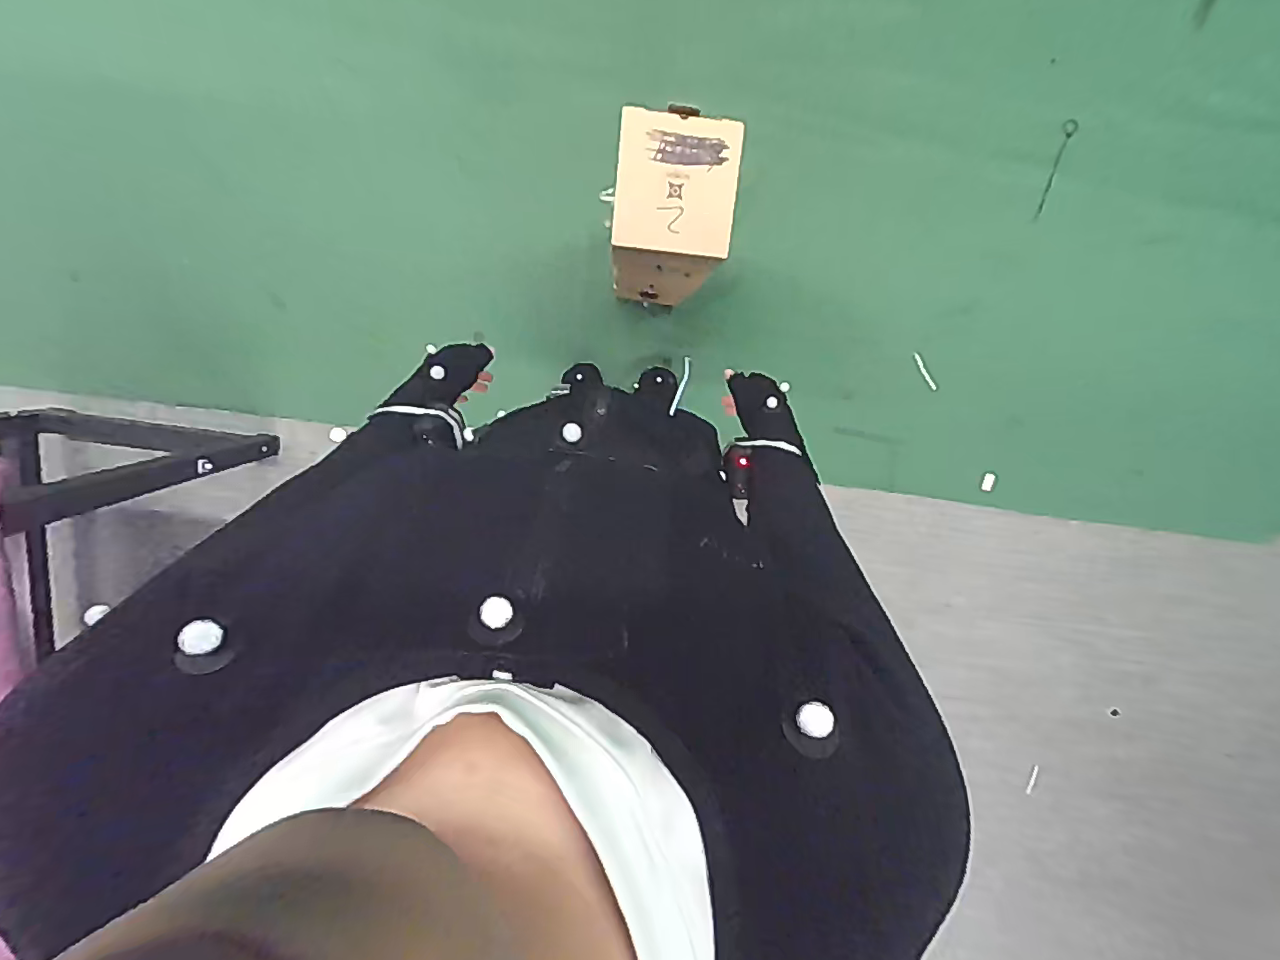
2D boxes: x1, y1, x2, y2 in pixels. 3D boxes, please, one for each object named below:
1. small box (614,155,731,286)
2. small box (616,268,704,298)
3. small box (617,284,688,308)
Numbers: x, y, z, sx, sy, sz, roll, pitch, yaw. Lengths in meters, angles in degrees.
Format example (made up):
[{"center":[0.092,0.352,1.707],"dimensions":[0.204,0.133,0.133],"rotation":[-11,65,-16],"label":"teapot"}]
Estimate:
[{"center":[0.050,-0.452,0.969],"dimensions":[0.179,0.176,0.168],"rotation":[7,102,-4],"label":"small box"},{"center":[0.049,-0.484,1.126],"dimensions":[0.179,0.176,0.168],"rotation":[10,100,-4],"label":"small box"},{"center":[0.038,-0.518,1.288],"dimensions":[0.168,0.176,0.179],"rotation":[8,102,-3],"label":"small box"}]
